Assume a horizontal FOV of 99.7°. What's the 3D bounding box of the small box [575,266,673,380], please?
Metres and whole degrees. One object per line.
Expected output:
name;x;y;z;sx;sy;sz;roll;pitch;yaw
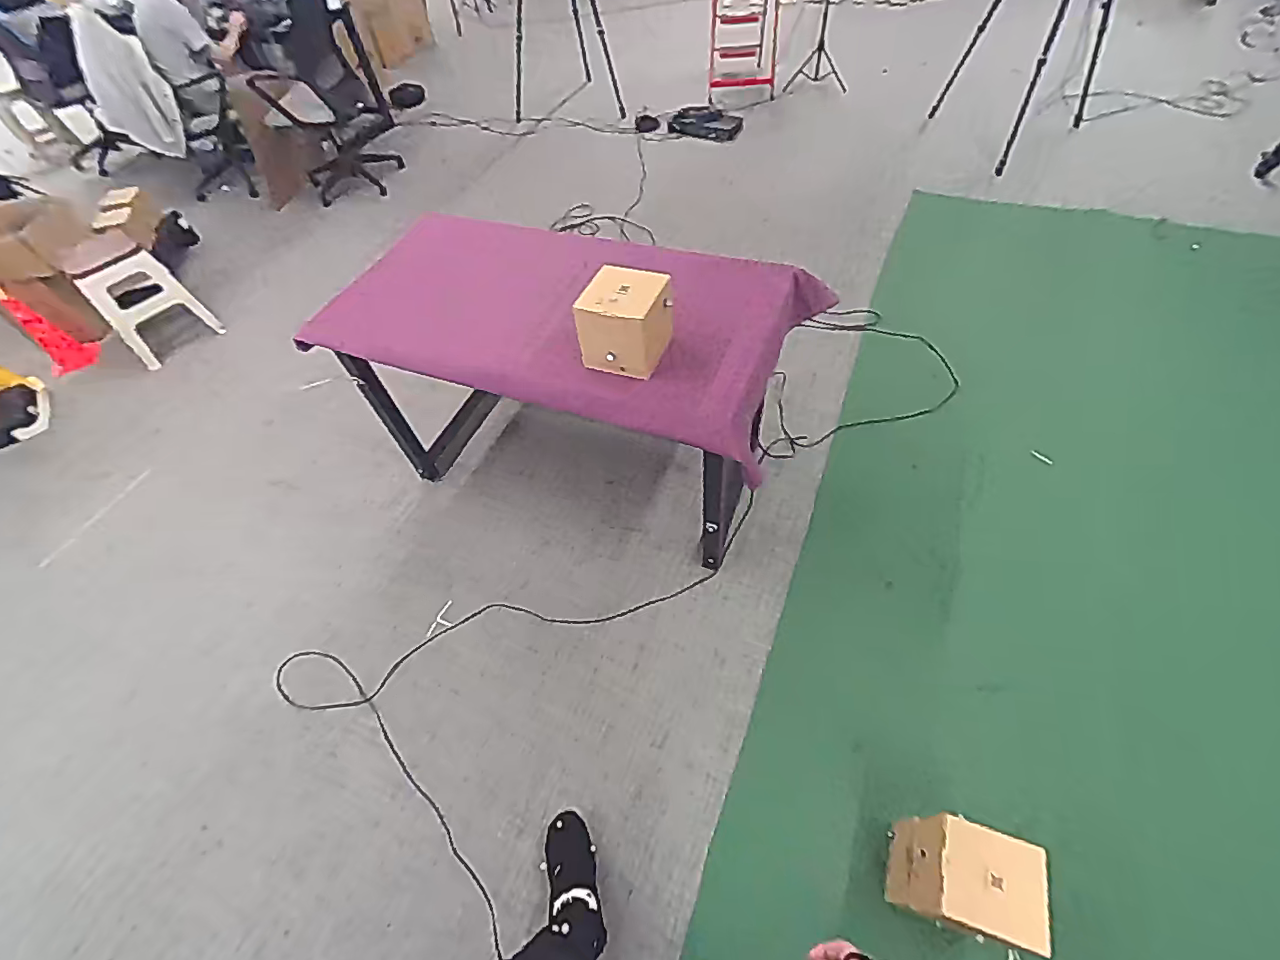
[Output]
small box;-0.030;-0.363;1.248;0.168;0.176;0.179;16;56;17

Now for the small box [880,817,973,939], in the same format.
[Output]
small box;0.645;0.872;1.185;0.179;0.176;0.168;16;57;15

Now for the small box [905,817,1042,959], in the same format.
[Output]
small box;0.640;0.782;1.051;0.179;0.176;0.168;14;57;15
